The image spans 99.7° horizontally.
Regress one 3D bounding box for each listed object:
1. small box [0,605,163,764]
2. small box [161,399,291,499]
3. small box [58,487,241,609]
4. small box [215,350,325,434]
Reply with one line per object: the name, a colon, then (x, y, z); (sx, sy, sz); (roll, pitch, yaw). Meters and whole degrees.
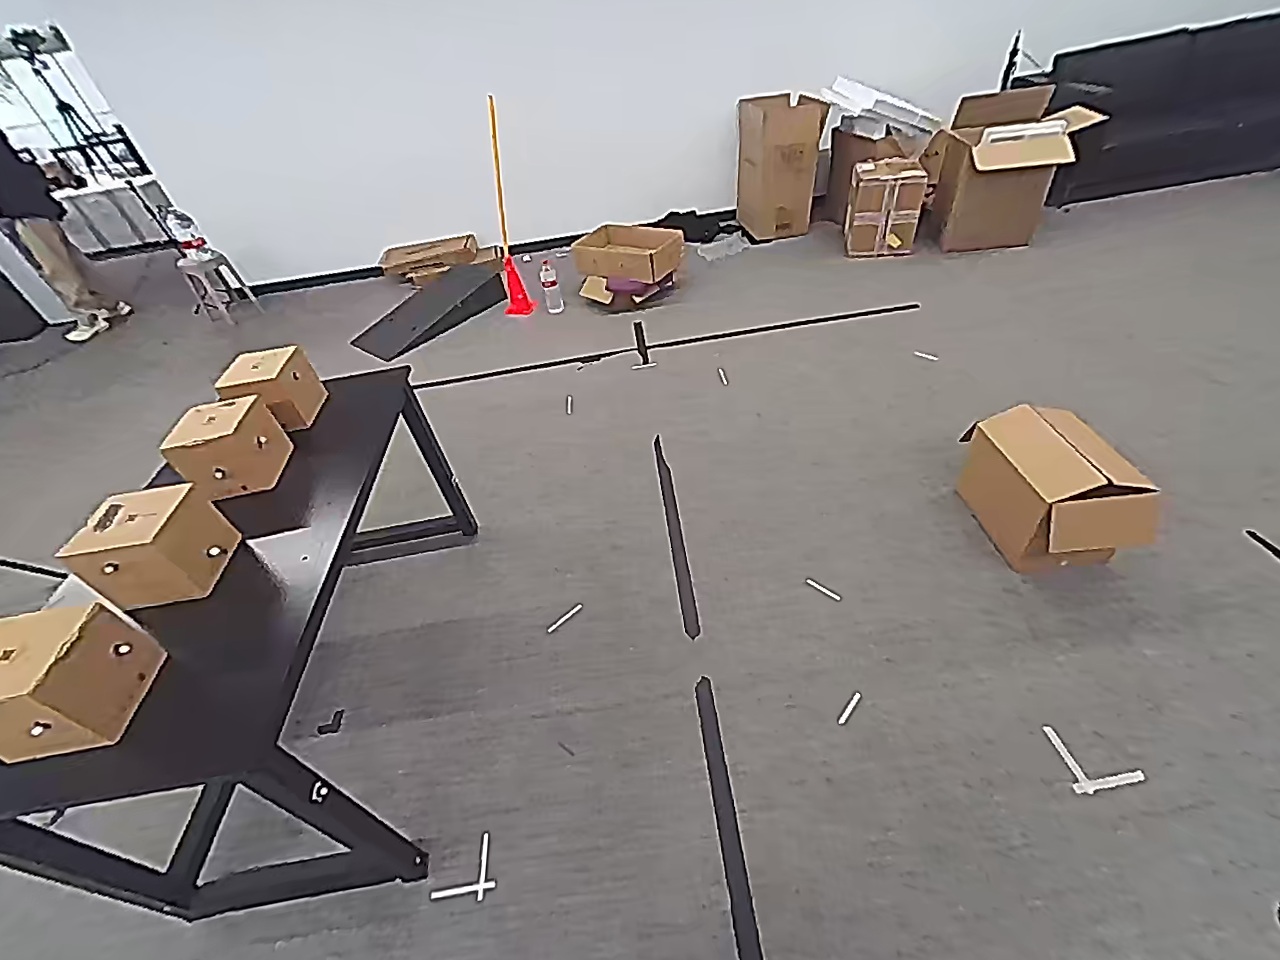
small box: (-0.944, 0.331, 0.875); (0.179, 0.176, 0.168); (-11, 41, -1)
small box: (-0.998, -0.069, 1.326); (0.168, 0.176, 0.179); (-12, 43, -4)
small box: (-0.968, 0.140, 1.088); (0.179, 0.176, 0.168); (-9, 42, -1)
small box: (-1.019, -0.237, 1.512); (0.168, 0.176, 0.179); (-9, 42, -1)
